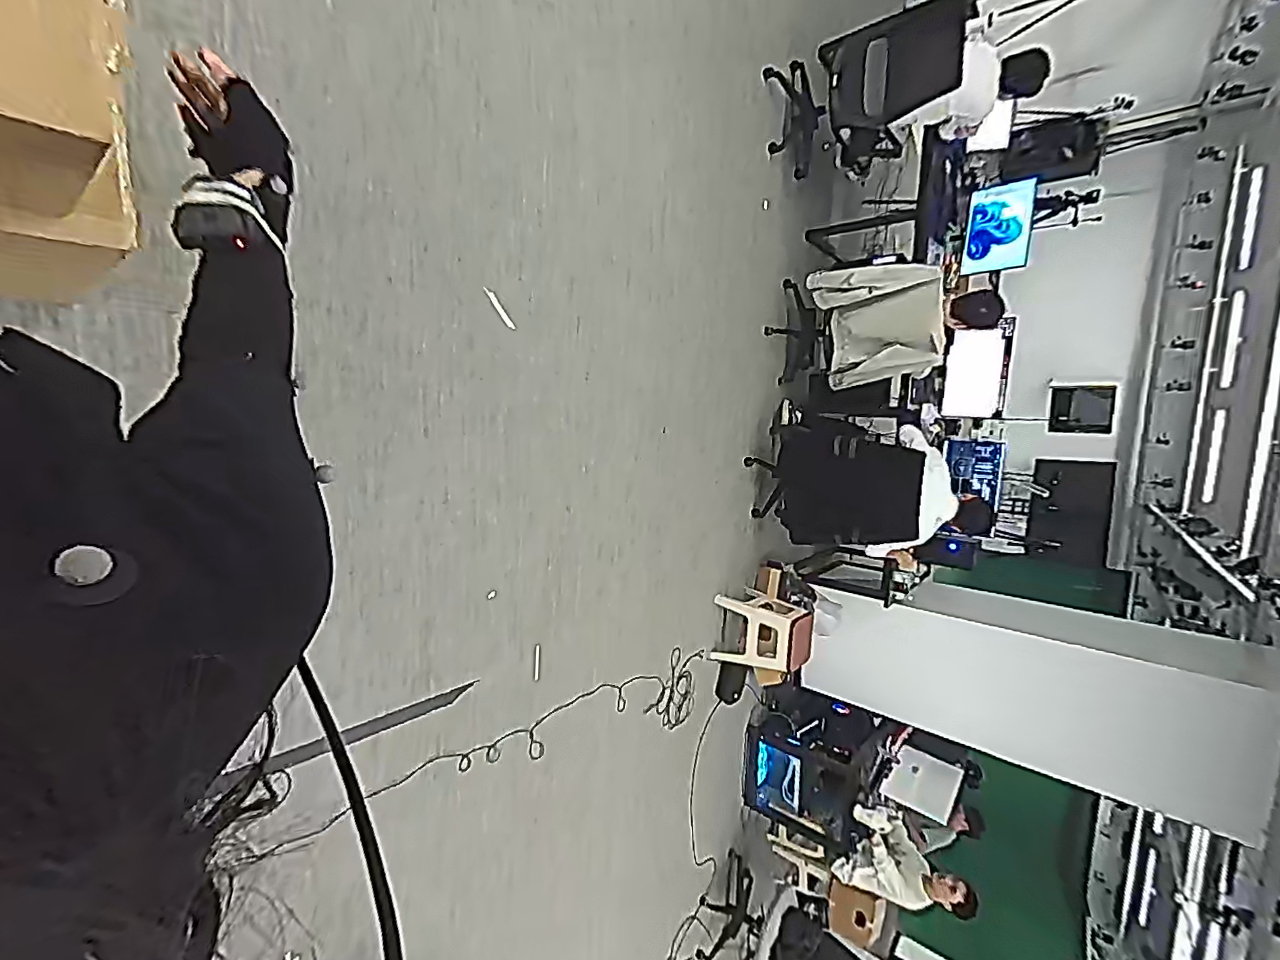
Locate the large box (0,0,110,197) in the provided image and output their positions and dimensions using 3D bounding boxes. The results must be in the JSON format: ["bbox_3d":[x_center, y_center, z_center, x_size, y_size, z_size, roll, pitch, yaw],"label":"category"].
[{"bbox_3d":[-0.672,-0.434,0.355,0.408,0.320,0.320,-9,104,-52],"label":"large box"}]
